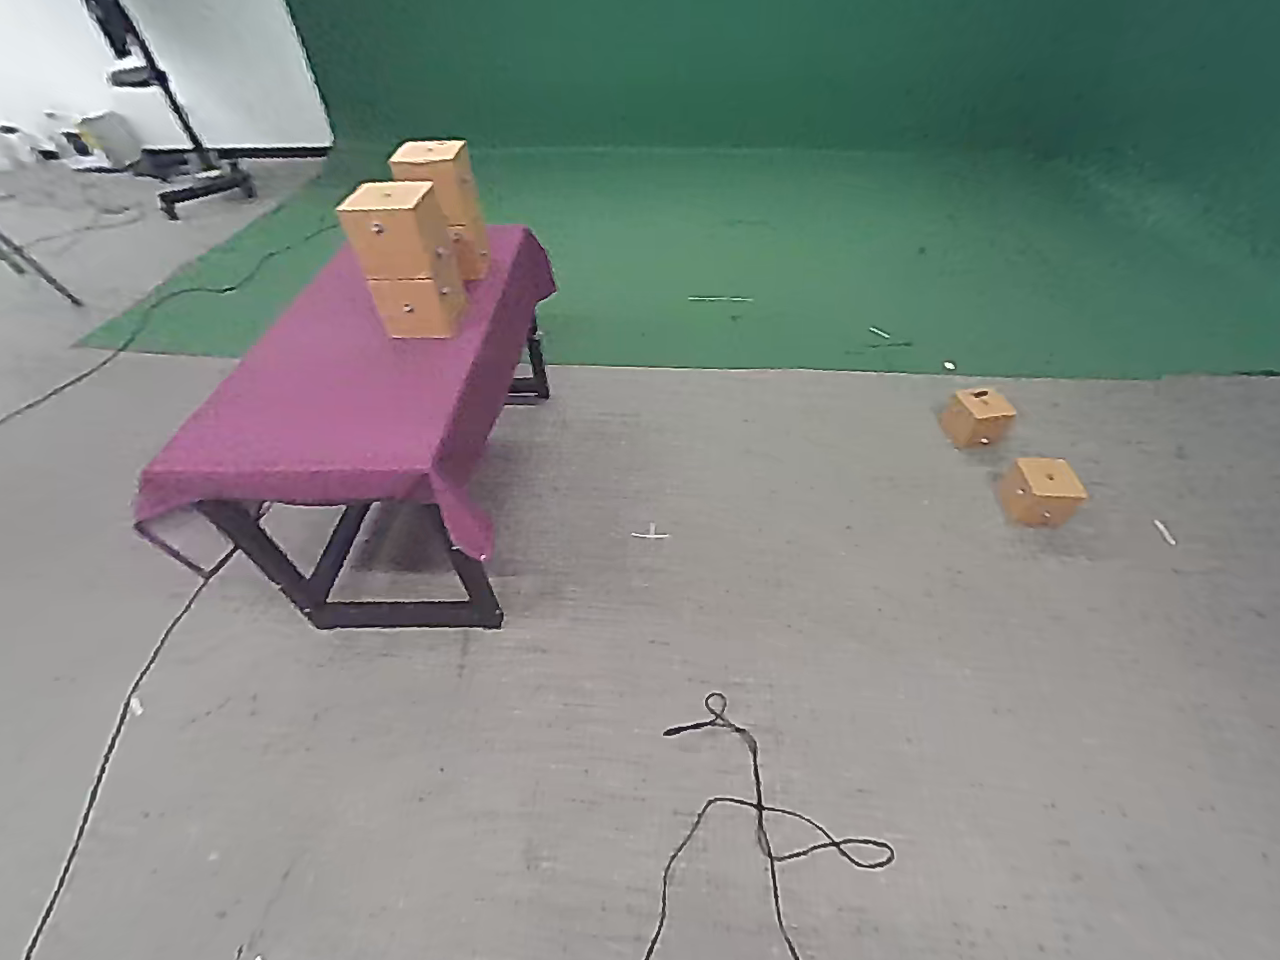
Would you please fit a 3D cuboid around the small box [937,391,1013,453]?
[{"bbox_3d":[1.317,-0.230,2.142,0.168,0.176,0.179,-7,47,-4],"label":"small box"}]

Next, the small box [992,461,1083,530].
[{"bbox_3d":[1.364,0.055,1.868,0.168,0.176,0.179,3,47,4],"label":"small box"}]

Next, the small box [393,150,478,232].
[{"bbox_3d":[-0.576,-0.825,1.550,0.168,0.176,0.179,-1,47,0],"label":"small box"}]

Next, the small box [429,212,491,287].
[{"bbox_3d":[-0.575,-0.710,1.668,0.179,0.176,0.168,-1,46,0],"label":"small box"}]

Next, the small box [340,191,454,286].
[{"bbox_3d":[-0.584,-0.589,1.324,0.179,0.176,0.168,1,47,4],"label":"small box"}]
